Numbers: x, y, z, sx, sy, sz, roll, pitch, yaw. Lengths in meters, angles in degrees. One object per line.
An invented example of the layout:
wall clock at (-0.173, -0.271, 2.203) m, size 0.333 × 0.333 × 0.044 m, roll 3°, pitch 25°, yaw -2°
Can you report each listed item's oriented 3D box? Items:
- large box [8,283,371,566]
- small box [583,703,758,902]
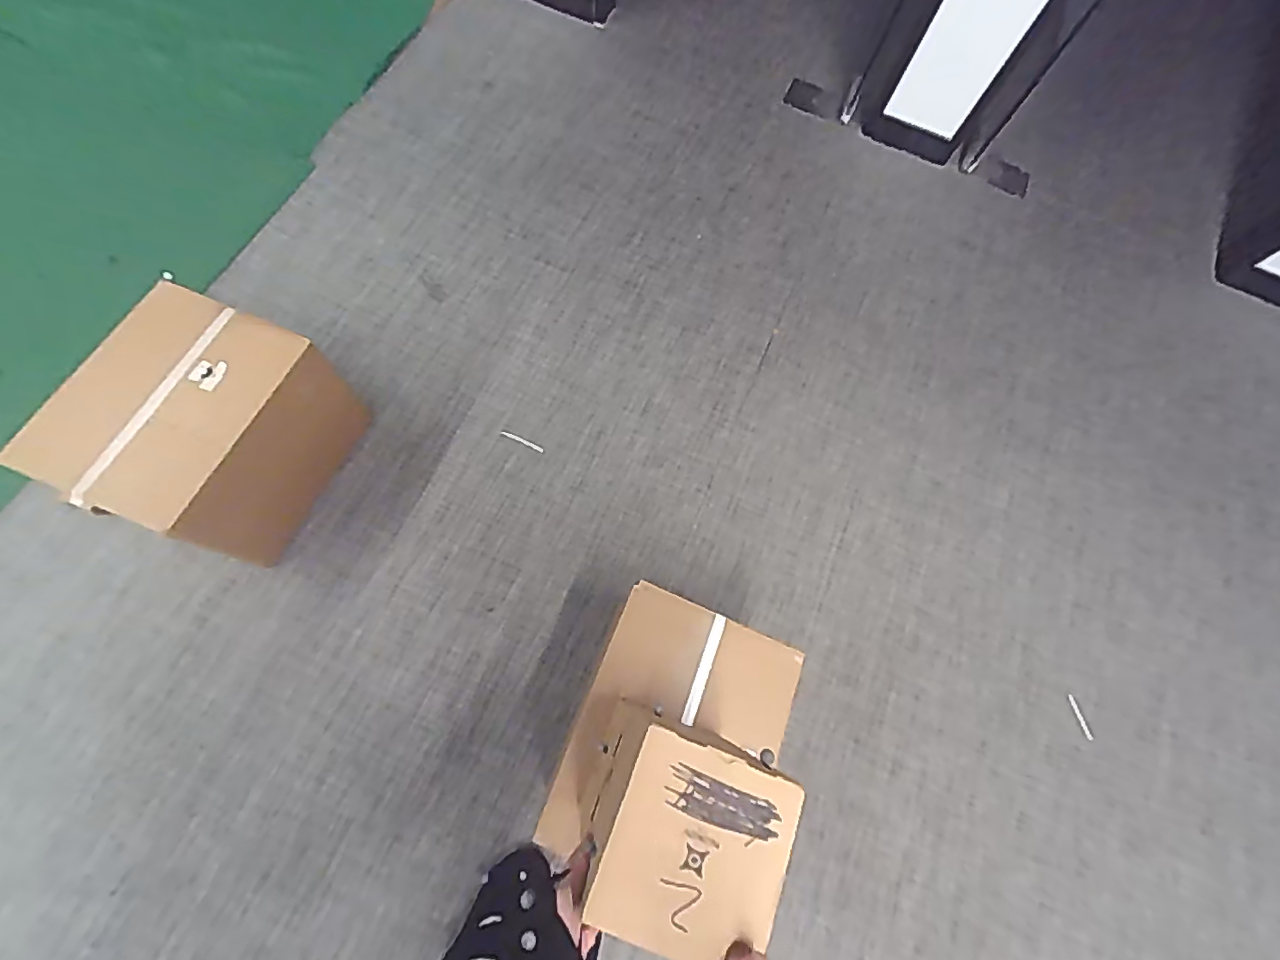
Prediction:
large box at (-0.825, -0.091, 1.070) m, size 0.320 × 0.320 × 0.408 m, roll 23°, pitch 70°, yaw 2°
small box at (0.033, 0.416, 0.734) m, size 0.179 × 0.176 × 0.168 m, roll 21°, pitch 71°, yaw 2°
